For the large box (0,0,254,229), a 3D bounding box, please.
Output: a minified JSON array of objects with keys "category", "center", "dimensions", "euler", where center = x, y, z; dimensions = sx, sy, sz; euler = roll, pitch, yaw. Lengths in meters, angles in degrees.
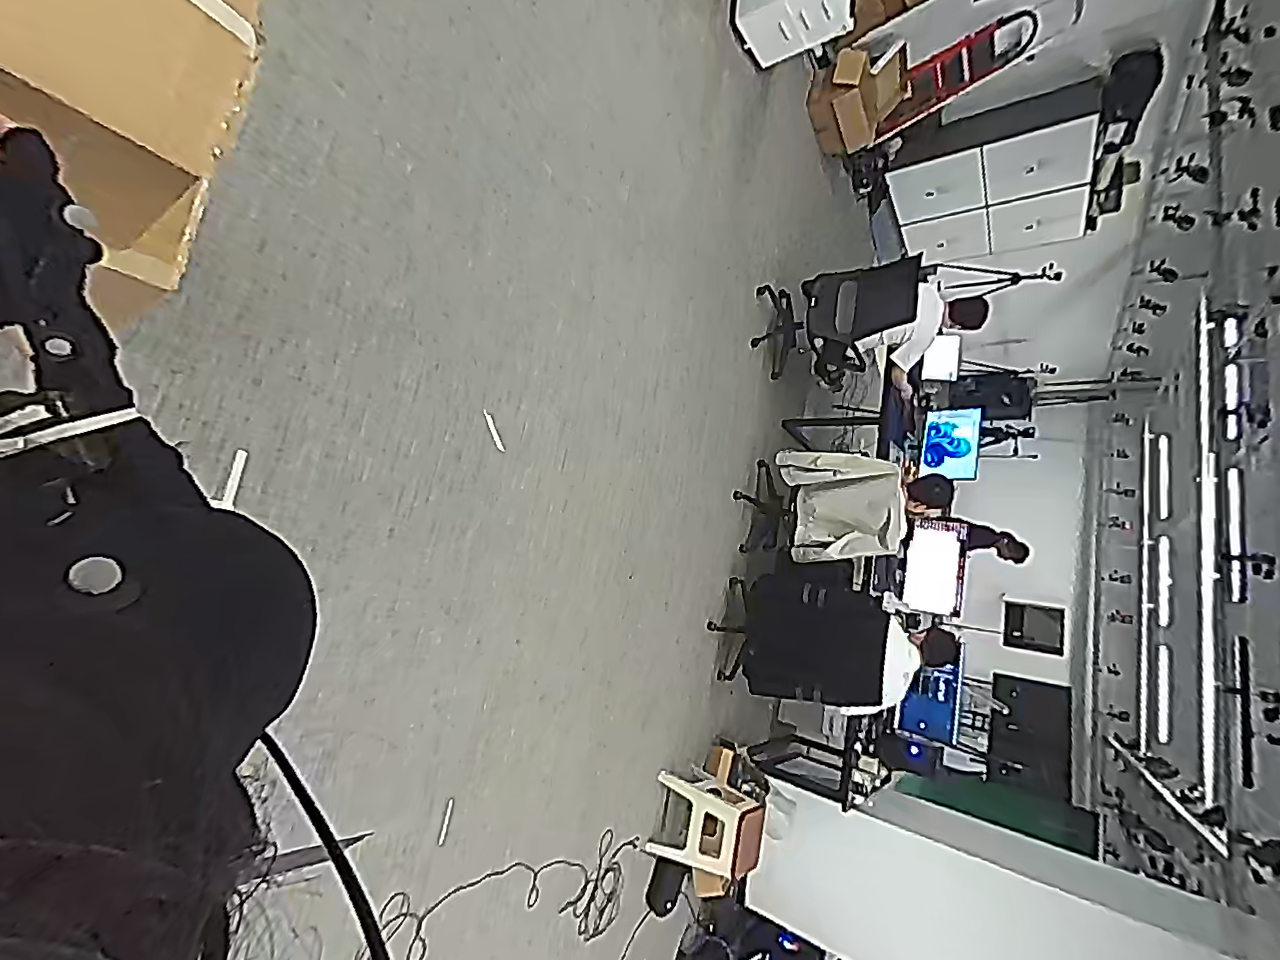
[{"category":"large box","center":[-0.630,-0.499,0.467],"dimensions":[0.408,0.320,0.320],"euler":[23,74,-53]}]
